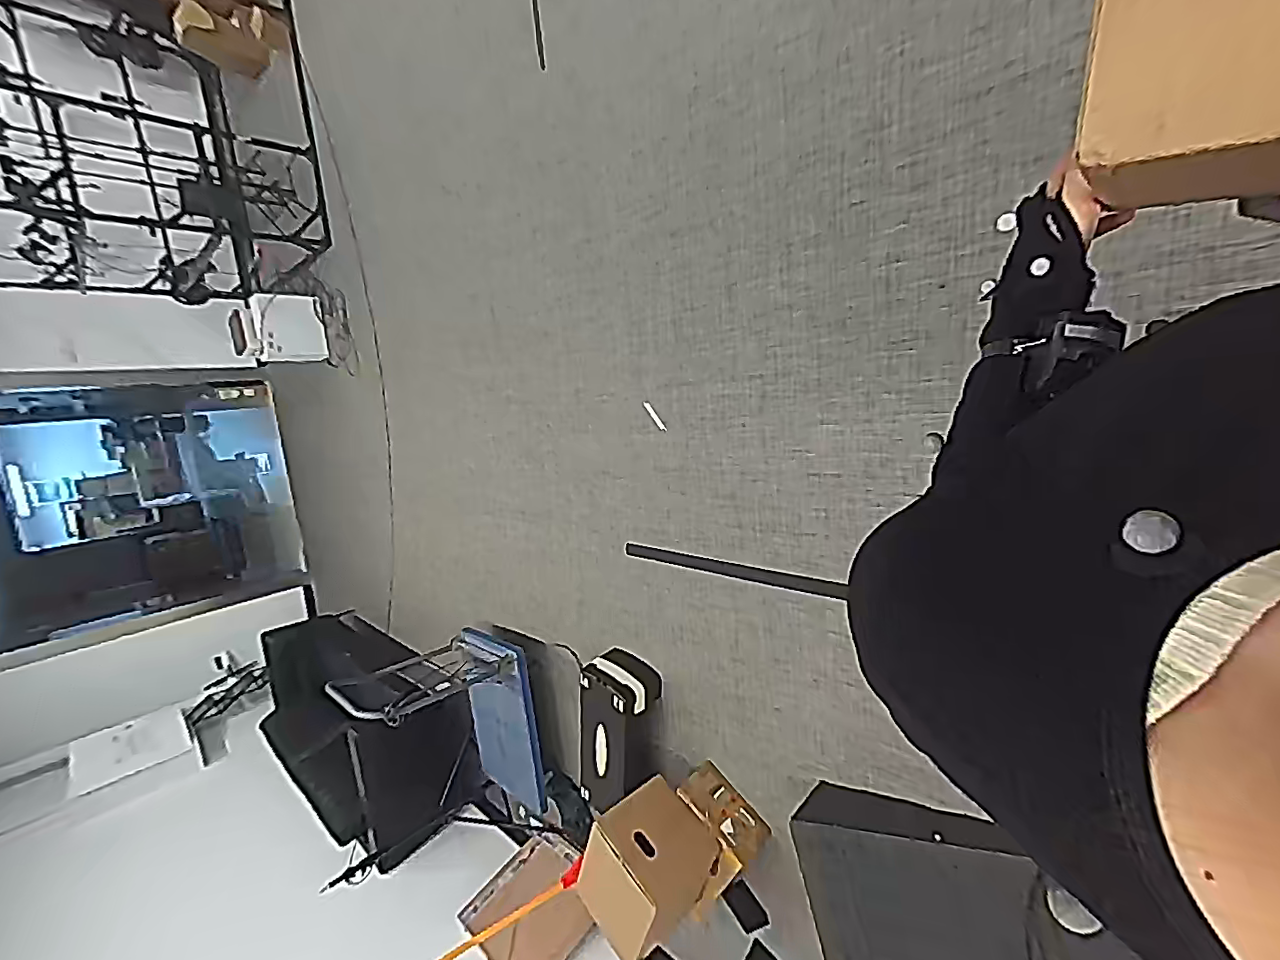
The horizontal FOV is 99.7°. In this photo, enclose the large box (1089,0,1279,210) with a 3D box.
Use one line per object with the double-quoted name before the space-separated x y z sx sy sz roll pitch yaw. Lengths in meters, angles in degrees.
"large box" 0.433 -0.304 0.184 0.408 0.320 0.320 11 114 38
